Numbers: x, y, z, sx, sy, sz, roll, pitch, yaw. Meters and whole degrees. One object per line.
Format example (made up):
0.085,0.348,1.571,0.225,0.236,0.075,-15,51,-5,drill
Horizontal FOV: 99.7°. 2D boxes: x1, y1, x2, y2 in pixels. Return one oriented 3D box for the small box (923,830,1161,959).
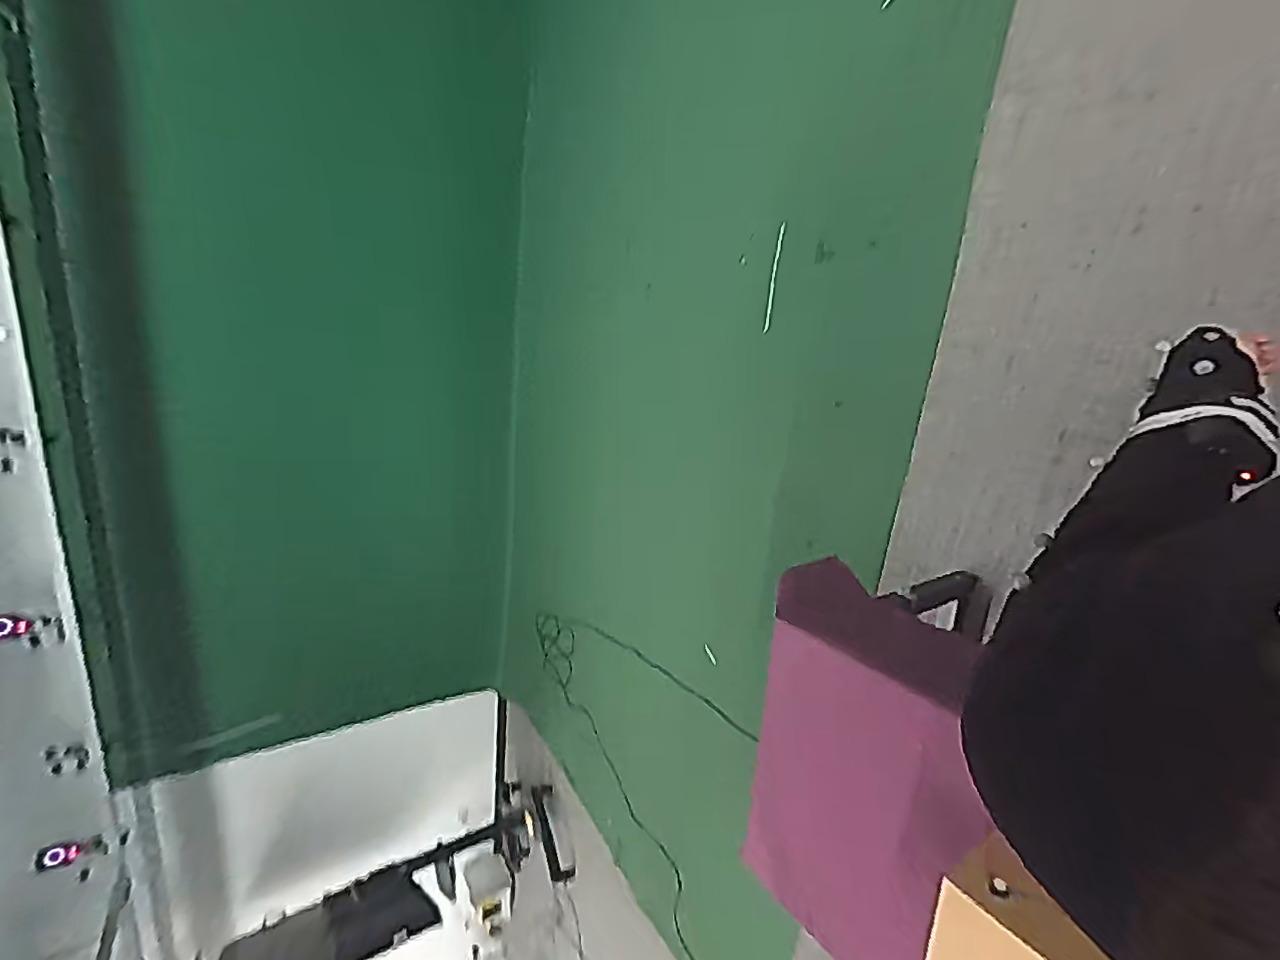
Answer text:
0.496,0.582,0.677,0.179,0.176,0.168,21,111,54,small box
